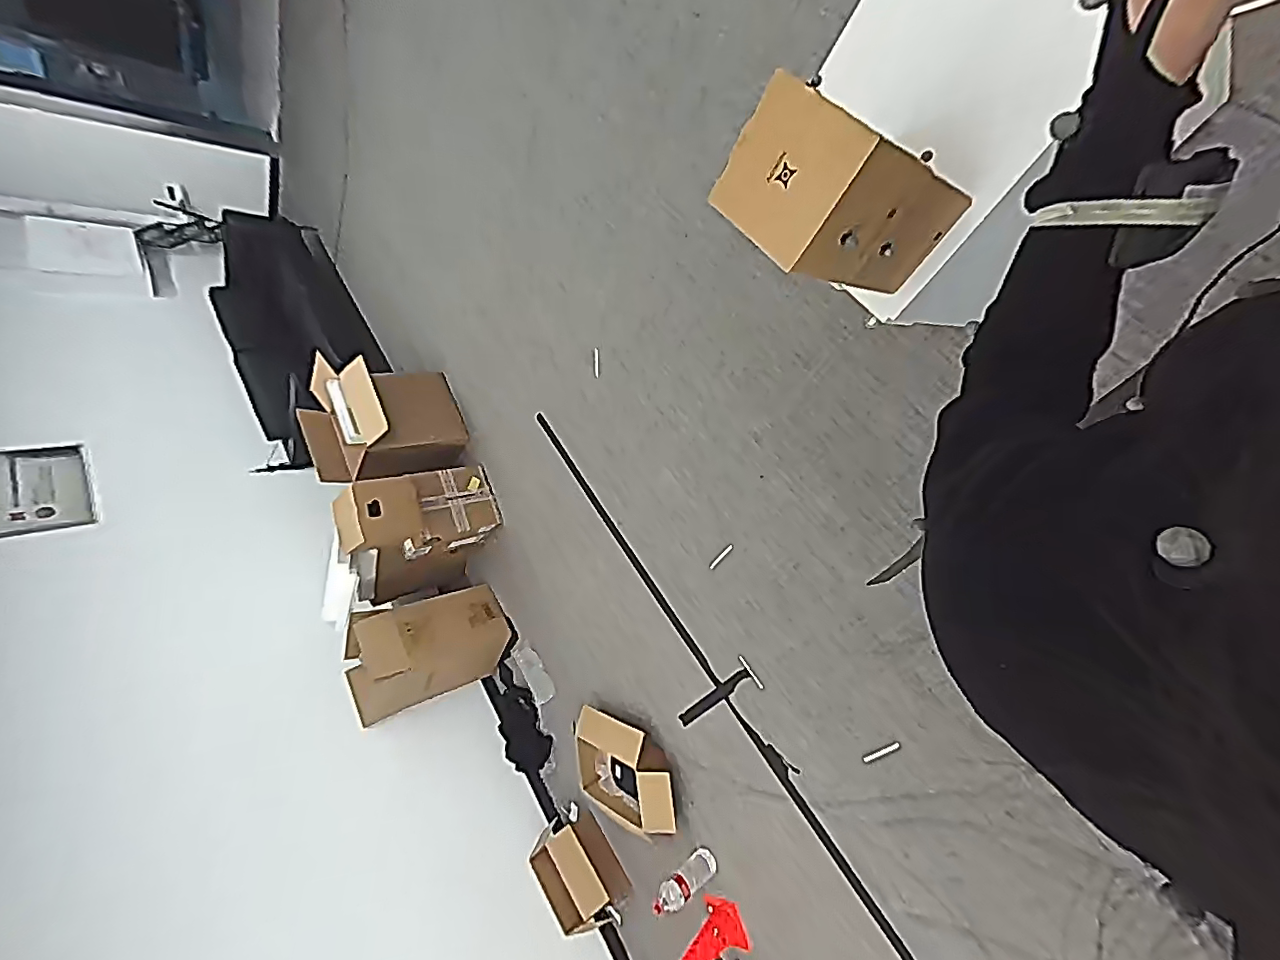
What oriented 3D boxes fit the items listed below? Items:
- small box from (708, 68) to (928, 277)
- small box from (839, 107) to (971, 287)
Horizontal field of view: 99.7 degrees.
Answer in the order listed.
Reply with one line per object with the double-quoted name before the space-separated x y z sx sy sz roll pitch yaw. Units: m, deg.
"small box" 0.230 -0.383 0.702 0.179 0.176 0.168 54 133 24
"small box" 0.347 -0.410 0.812 0.179 0.176 0.168 56 133 24
